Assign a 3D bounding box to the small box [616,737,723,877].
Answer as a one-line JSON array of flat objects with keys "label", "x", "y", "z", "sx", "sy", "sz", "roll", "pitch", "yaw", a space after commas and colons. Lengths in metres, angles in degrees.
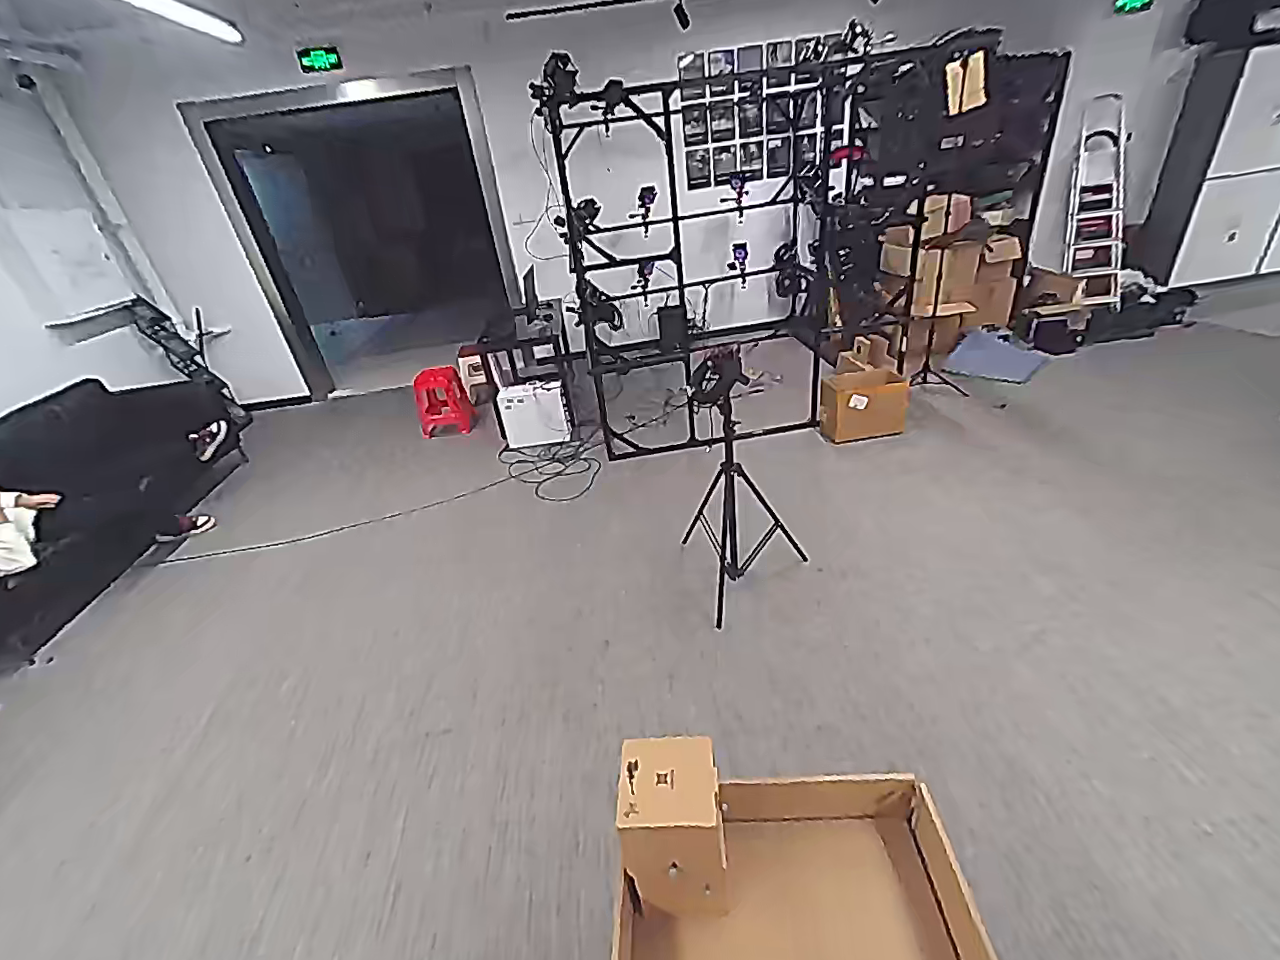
[{"label": "small box", "x": 0.061, "y": 0.601, "z": 0.997, "sx": 0.179, "sy": 0.176, "sz": 0.168, "roll": -4, "pitch": 29, "yaw": 7}]
